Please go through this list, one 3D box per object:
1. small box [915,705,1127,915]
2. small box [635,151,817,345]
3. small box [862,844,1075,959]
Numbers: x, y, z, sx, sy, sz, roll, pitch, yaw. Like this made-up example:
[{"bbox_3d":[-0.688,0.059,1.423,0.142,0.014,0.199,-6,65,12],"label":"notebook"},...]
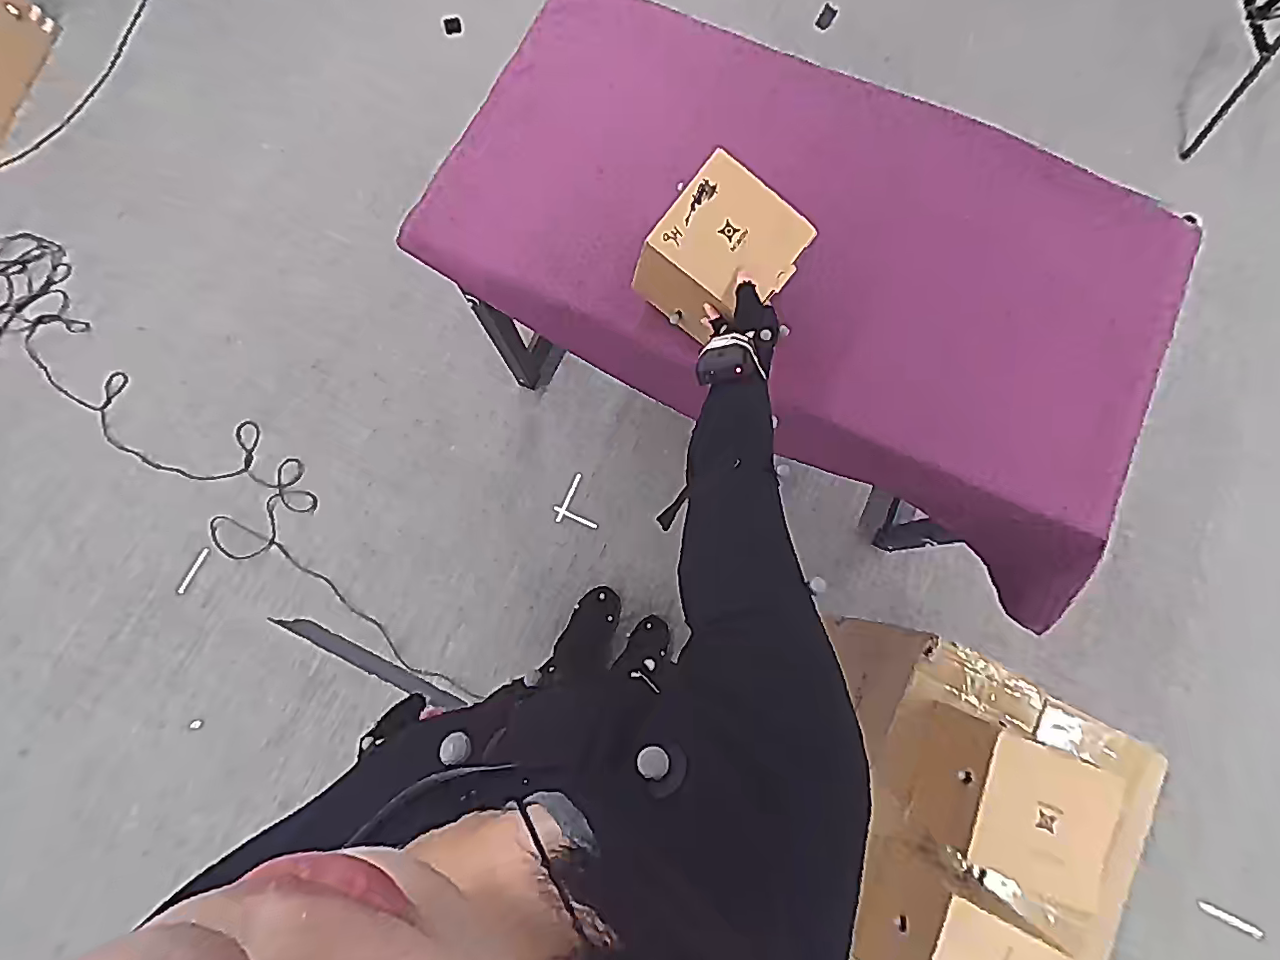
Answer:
[{"bbox_3d":[0.522,0.445,0.766,0.168,0.176,0.179,21,81,6],"label":"small box"},{"bbox_3d":[0.113,-0.318,0.790,0.179,0.176,0.168,38,84,-7],"label":"small box"},{"bbox_3d":[0.424,0.642,0.724,0.168,0.176,0.179,26,78,6],"label":"small box"}]
